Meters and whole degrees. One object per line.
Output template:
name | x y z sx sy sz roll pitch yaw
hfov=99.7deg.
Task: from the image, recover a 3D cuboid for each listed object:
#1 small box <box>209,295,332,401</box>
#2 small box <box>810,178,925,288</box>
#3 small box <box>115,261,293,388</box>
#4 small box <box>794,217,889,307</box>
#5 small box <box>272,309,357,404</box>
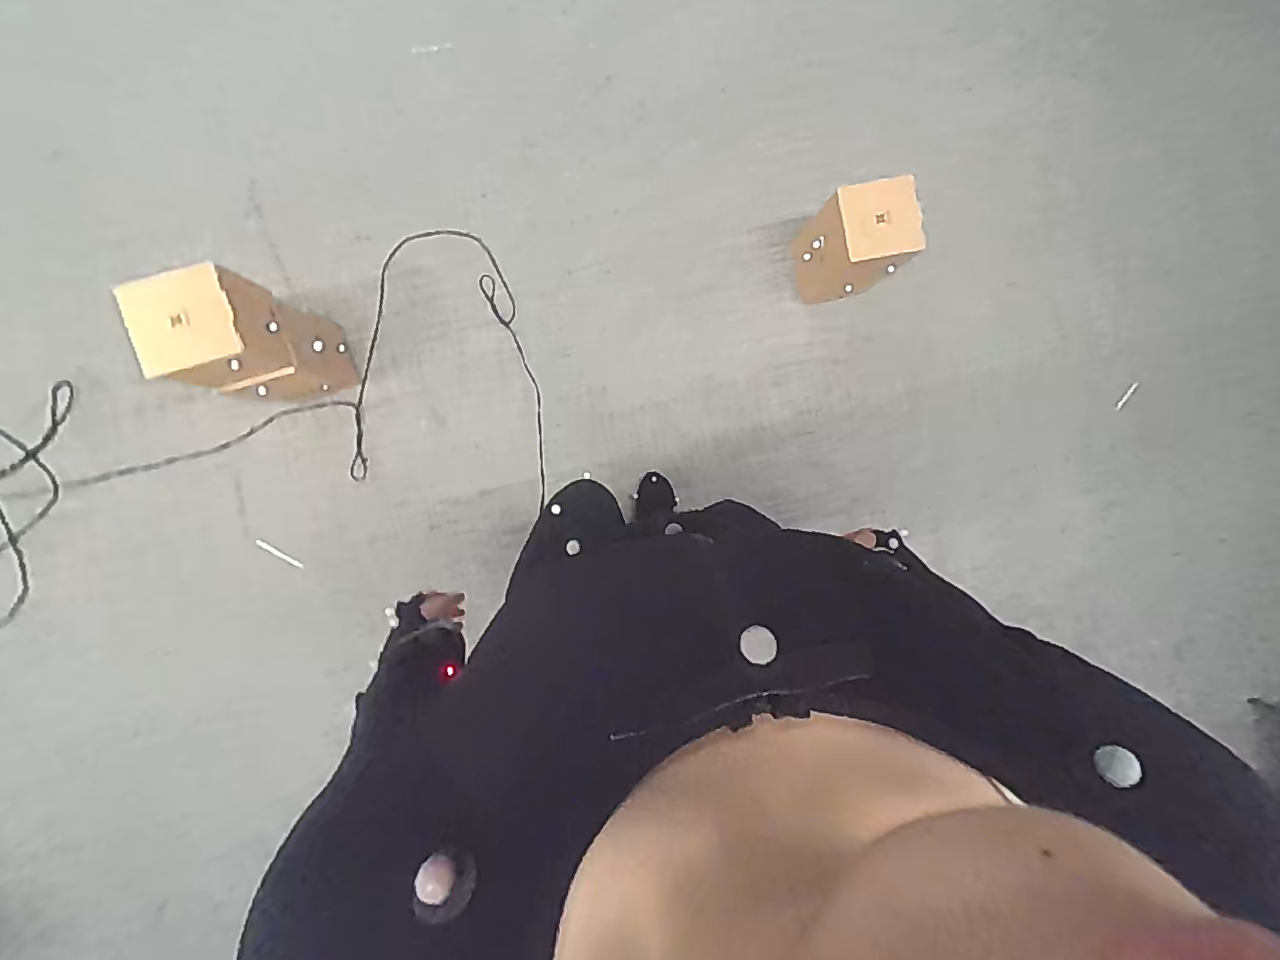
small box | -0.819 -0.279 1.182 0.179 0.176 0.168 -17 93 -3
small box | 0.518 -0.562 1.249 0.179 0.176 0.168 -12 91 -2
small box | -0.807 -0.281 1.019 0.179 0.176 0.168 -18 93 -4
small box | 0.517 -0.575 1.412 0.168 0.176 0.179 -12 92 -3
small box | -0.836 -0.300 1.344 0.179 0.176 0.168 -20 92 -2
